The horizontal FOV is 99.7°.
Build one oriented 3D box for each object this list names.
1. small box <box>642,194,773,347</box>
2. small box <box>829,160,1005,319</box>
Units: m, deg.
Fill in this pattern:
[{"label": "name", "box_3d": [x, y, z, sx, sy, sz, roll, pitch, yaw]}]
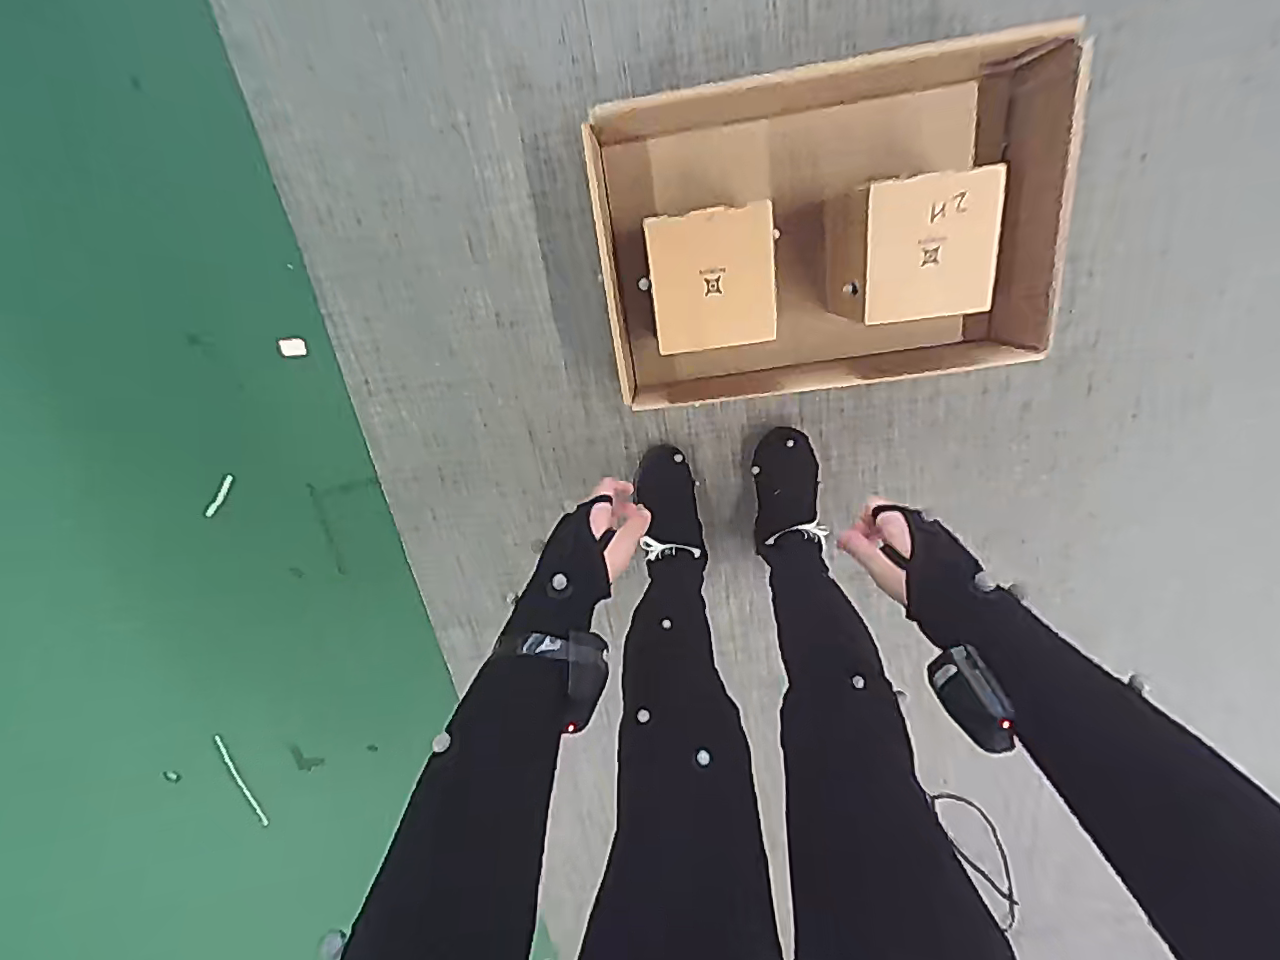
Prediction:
[{"label": "small box", "box_3d": [0.096, -0.302, 0.791, 0.168, 0.176, 0.179, -6, 110, 4]}, {"label": "small box", "box_3d": [0.375, -0.334, 0.768, 0.168, 0.176, 0.179, -5, 112, 4]}]
